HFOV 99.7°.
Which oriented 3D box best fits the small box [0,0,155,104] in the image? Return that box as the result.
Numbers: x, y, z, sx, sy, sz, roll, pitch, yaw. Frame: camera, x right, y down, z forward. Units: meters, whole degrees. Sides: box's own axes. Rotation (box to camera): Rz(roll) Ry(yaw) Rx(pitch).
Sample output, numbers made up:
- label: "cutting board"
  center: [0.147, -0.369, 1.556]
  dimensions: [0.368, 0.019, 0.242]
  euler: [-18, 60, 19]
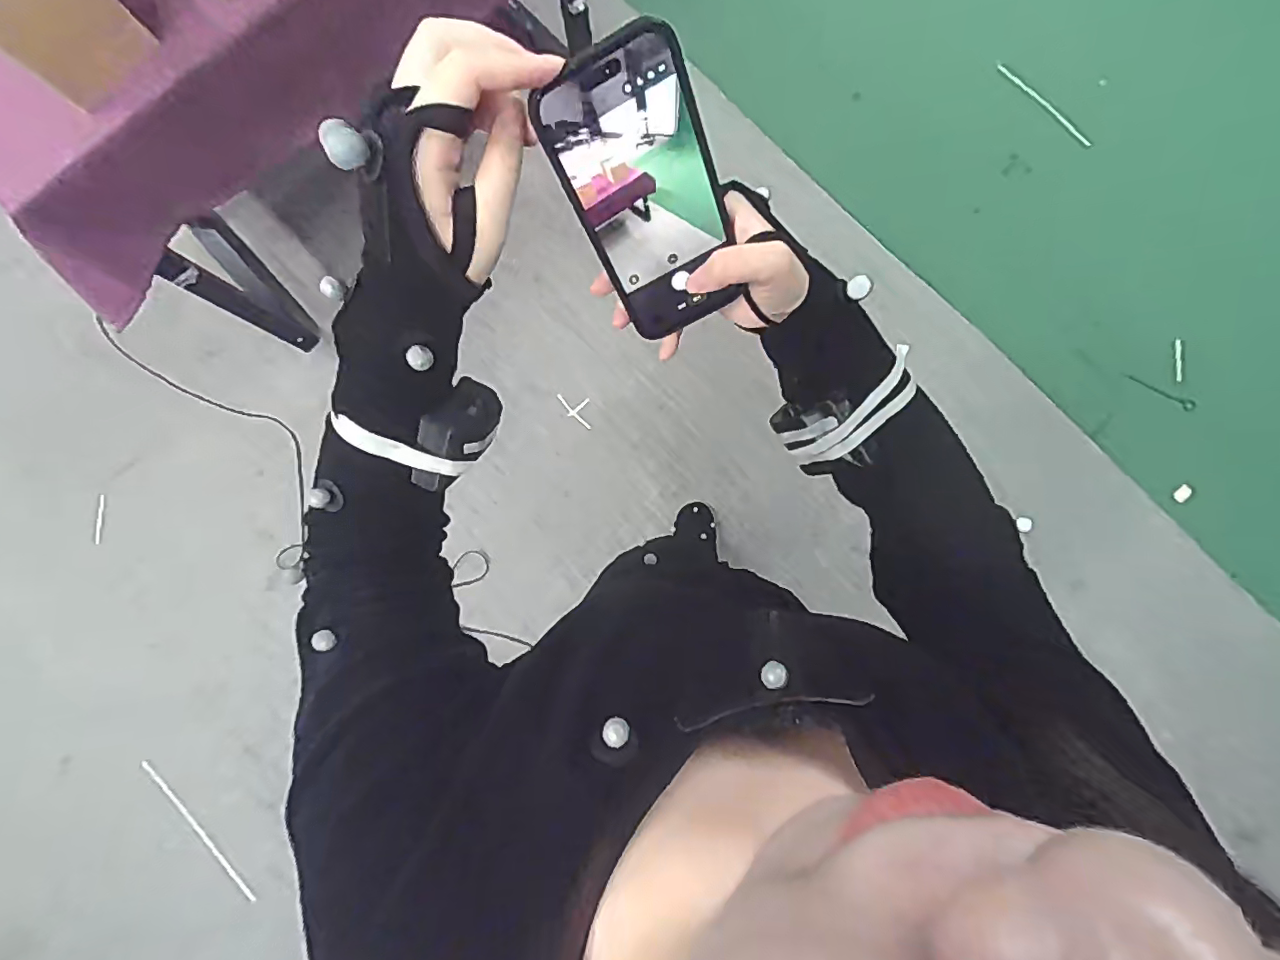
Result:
- label: "small box"
  center: [-0.905, -0.724, 0.811]
  dimensions: [0.168, 0.176, 0.179]
  euler: [42, 86, 6]
